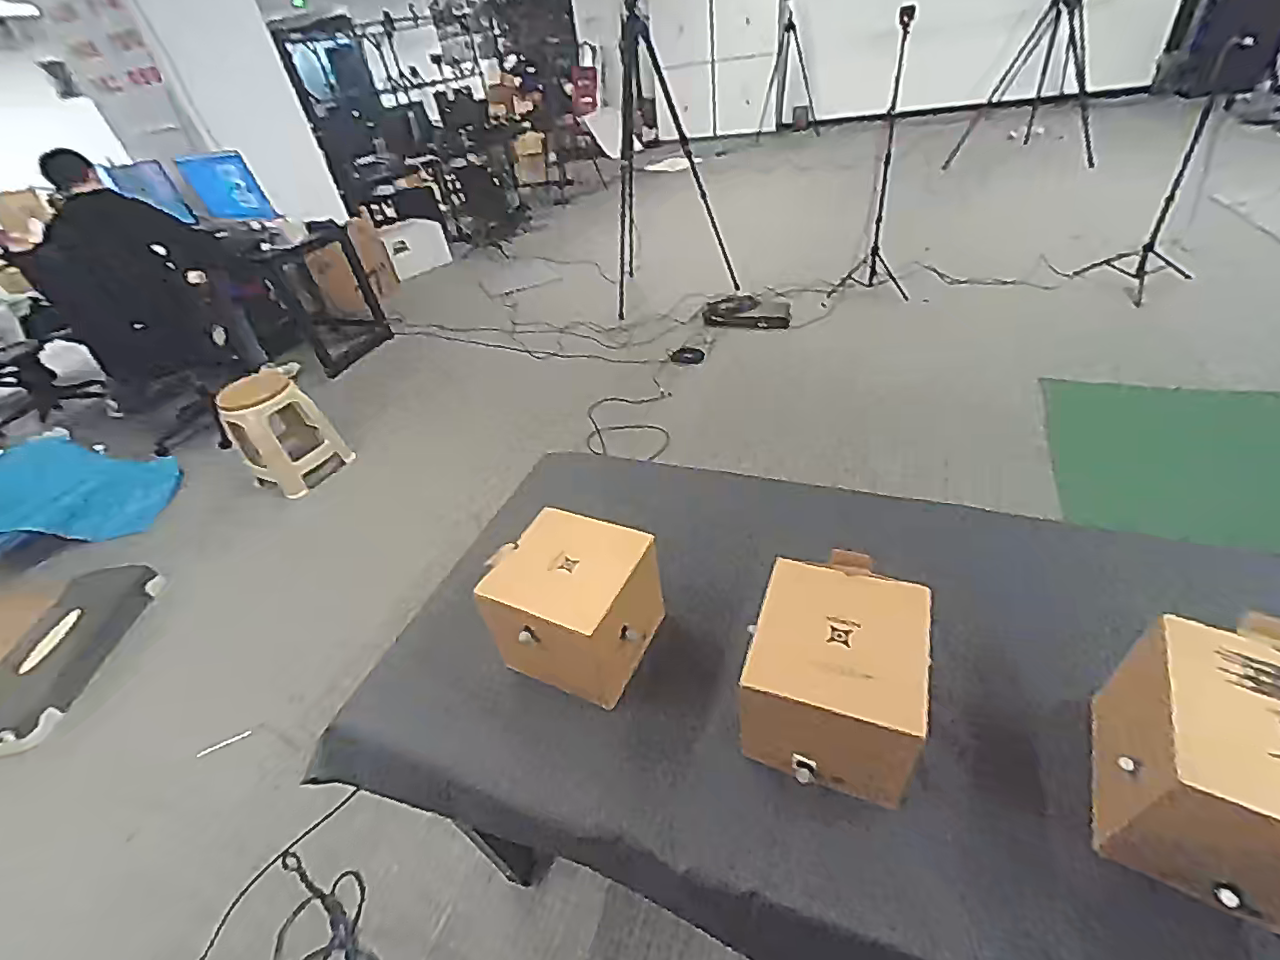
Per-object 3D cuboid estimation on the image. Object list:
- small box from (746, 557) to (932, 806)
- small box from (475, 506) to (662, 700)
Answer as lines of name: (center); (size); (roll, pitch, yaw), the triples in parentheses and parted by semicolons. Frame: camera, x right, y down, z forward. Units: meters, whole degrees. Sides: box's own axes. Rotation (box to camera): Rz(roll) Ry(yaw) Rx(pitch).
small box: (0.217, 0.218, 0.603); (0.168, 0.176, 0.179); (8, 42, 22)
small box: (-0.081, 0.165, 0.725); (0.179, 0.176, 0.168); (13, 43, 25)
